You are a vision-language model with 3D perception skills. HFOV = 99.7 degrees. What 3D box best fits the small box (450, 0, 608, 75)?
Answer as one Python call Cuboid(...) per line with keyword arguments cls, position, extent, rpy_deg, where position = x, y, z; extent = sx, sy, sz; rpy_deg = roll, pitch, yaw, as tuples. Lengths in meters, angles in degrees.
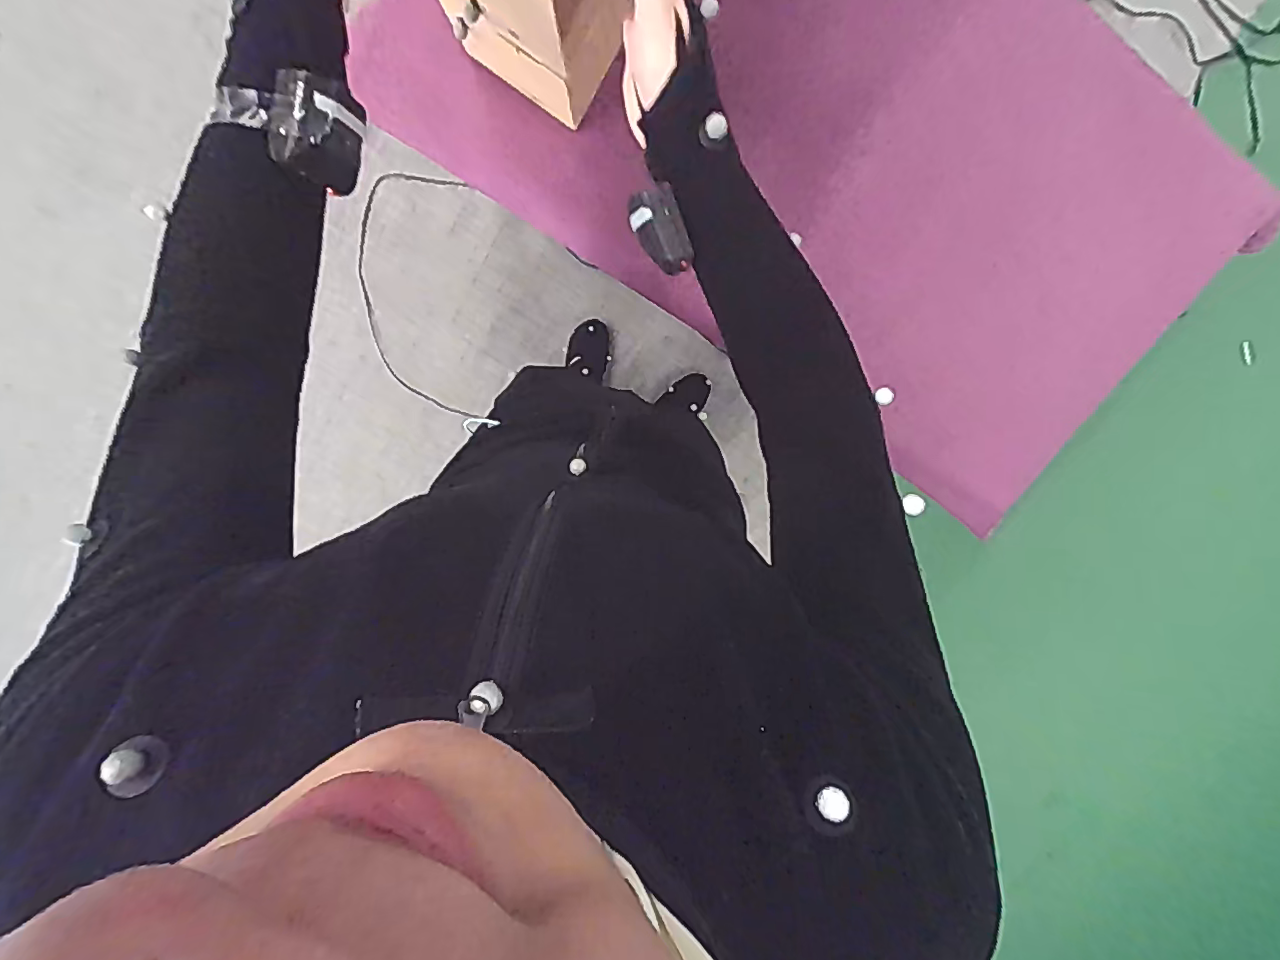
Cuboid(cls="small box", position=(-0.100, -0.523, 0.481), extent=(0.168, 0.176, 0.179), rpy_deg=(28, 104, -10))
